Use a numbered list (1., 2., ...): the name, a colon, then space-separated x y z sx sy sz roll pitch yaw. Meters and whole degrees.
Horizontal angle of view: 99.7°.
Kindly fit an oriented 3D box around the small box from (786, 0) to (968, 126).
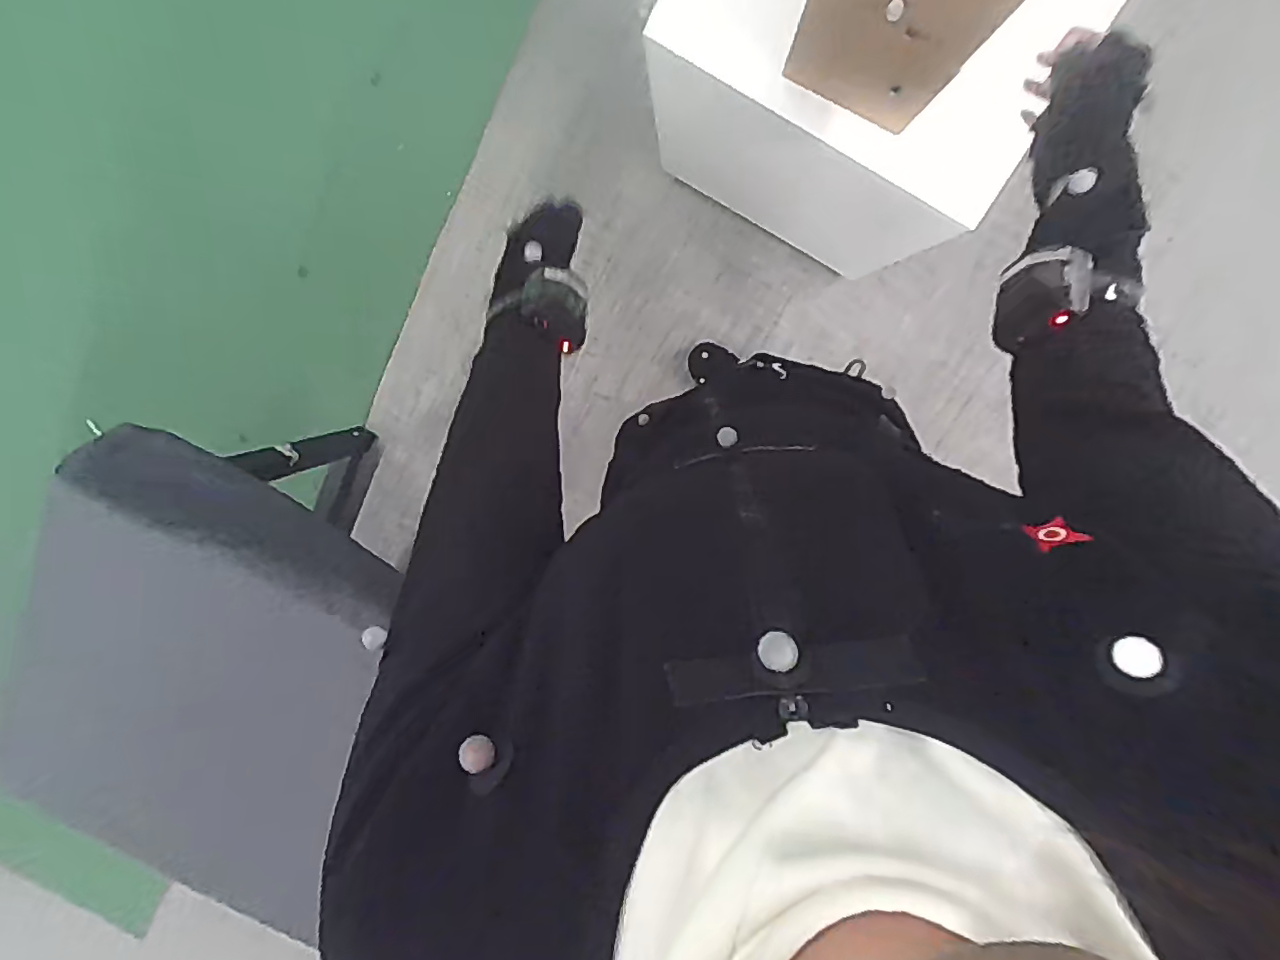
1. small box: 0.285 -0.531 0.596 0.179 0.176 0.168 27 103 0
